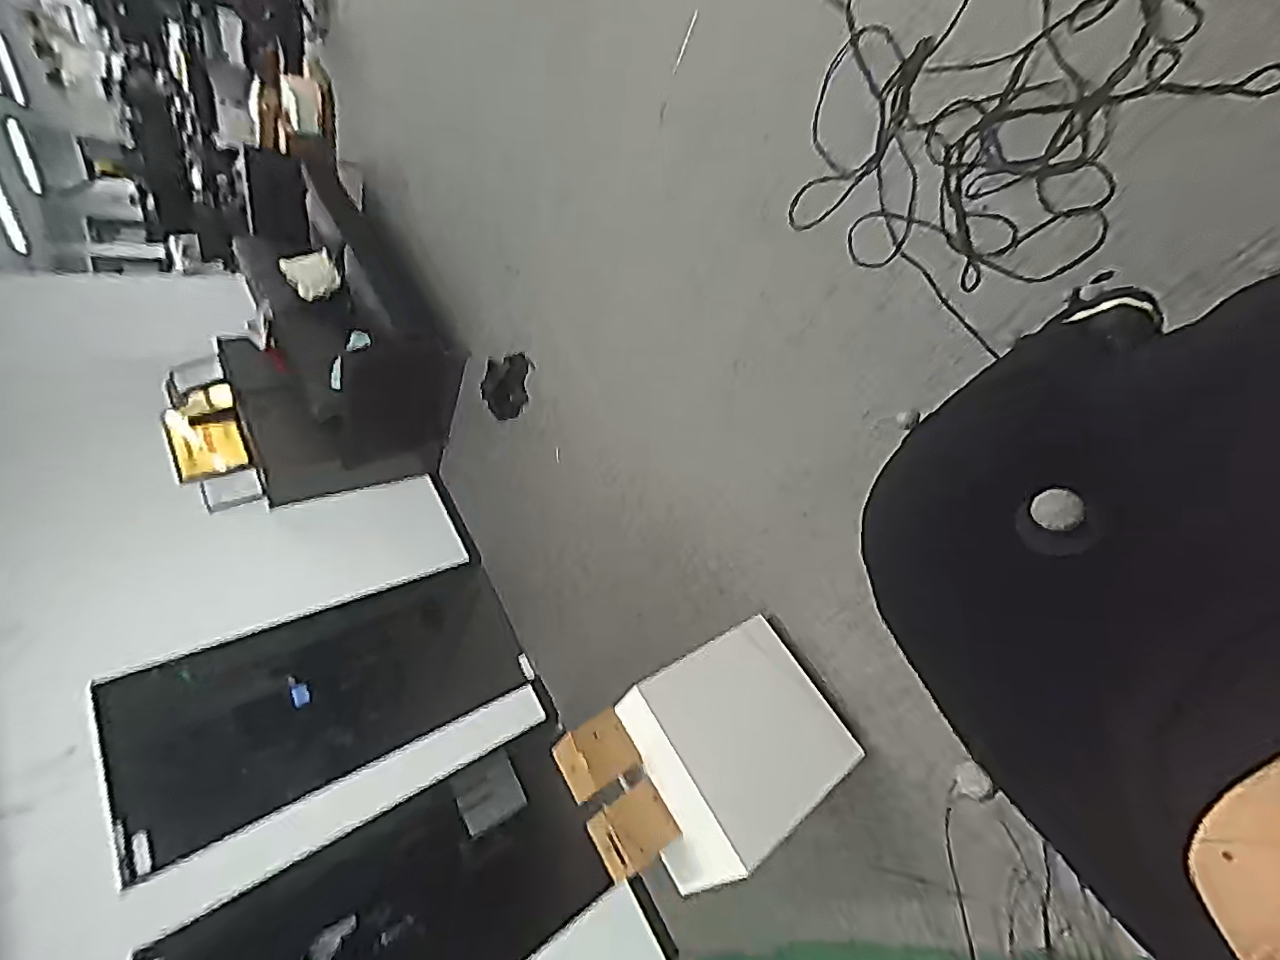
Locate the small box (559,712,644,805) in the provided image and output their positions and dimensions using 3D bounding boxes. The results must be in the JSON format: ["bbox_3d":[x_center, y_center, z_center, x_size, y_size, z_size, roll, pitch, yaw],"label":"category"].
[{"bbox_3d":[-0.111,0.820,1.601,0.168,0.176,0.179,54,139,24],"label":"small box"}]
